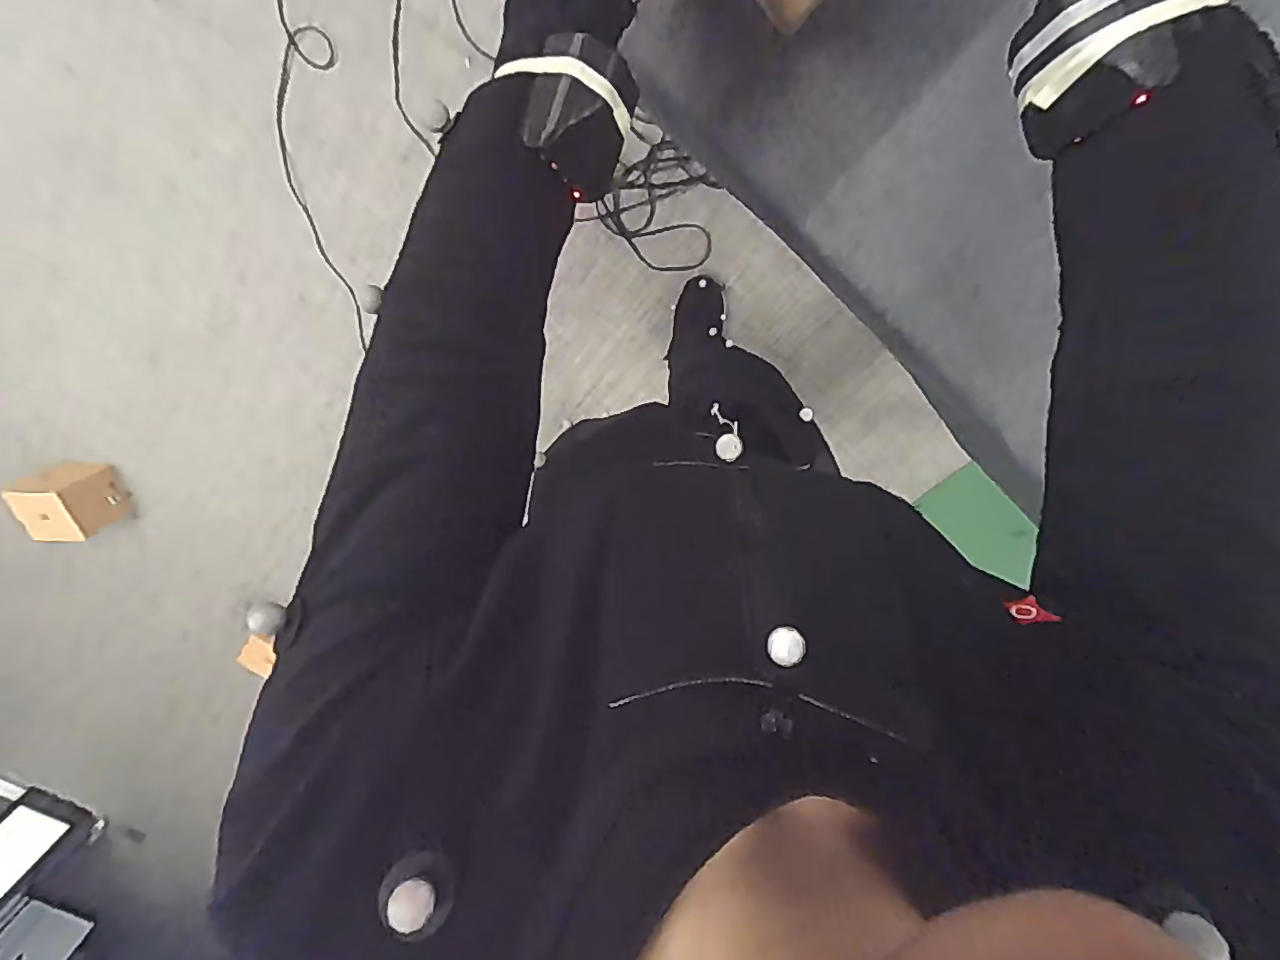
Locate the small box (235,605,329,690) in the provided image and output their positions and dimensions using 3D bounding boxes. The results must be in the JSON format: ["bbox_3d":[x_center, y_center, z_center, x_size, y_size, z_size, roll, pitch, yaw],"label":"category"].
[{"bbox_3d":[-1.171,0.547,1.781,0.179,0.176,0.168,36,116,-13],"label":"small box"}]

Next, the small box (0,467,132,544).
[{"bbox_3d":[-1.664,0.069,1.575,0.179,0.176,0.168,0,119,5],"label":"small box"}]
